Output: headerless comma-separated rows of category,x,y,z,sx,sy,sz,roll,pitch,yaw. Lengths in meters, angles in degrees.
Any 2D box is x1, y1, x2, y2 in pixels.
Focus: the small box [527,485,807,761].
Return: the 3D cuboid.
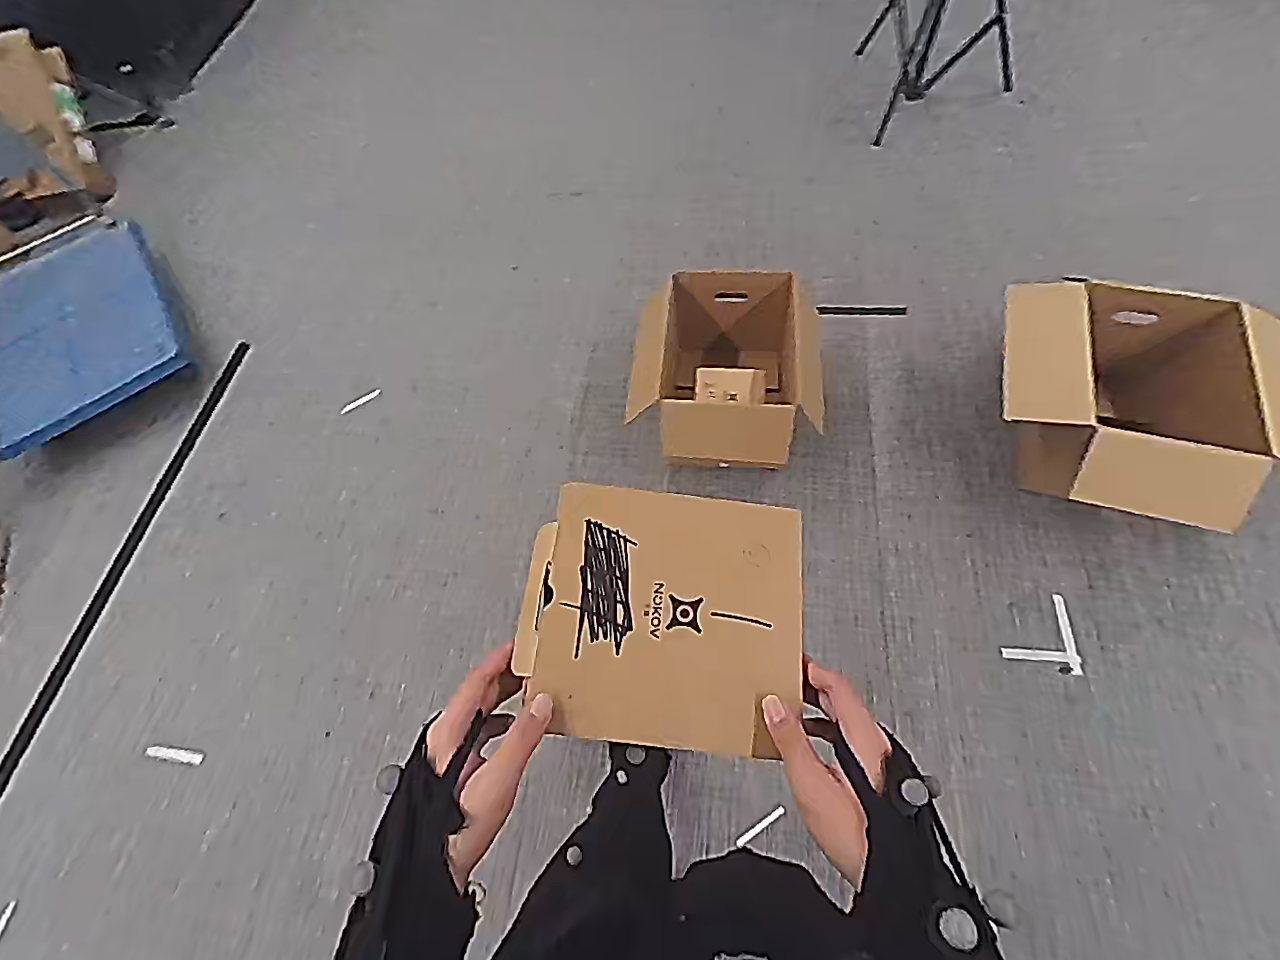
small box,0.022,0.118,0.436,0.179,0.176,0.168,7,68,0
